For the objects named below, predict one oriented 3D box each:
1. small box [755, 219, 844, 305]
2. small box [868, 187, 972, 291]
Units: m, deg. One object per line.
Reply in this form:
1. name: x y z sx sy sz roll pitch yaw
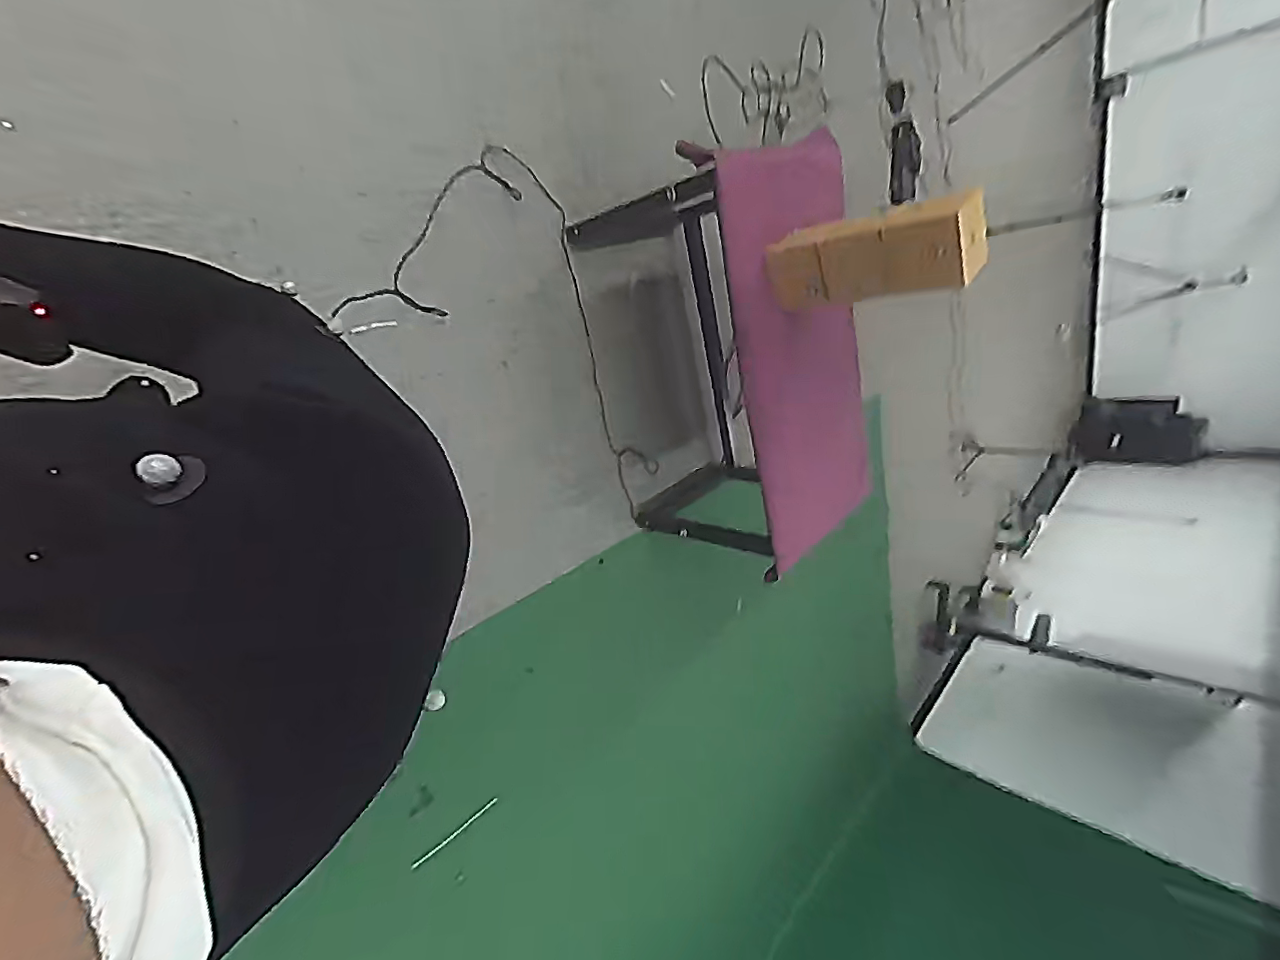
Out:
1. small box: 0.455 -0.614 1.543 0.168 0.176 0.179 -44 123 -31
2. small box: 0.677 -0.573 1.307 0.168 0.176 0.179 -45 124 -29
